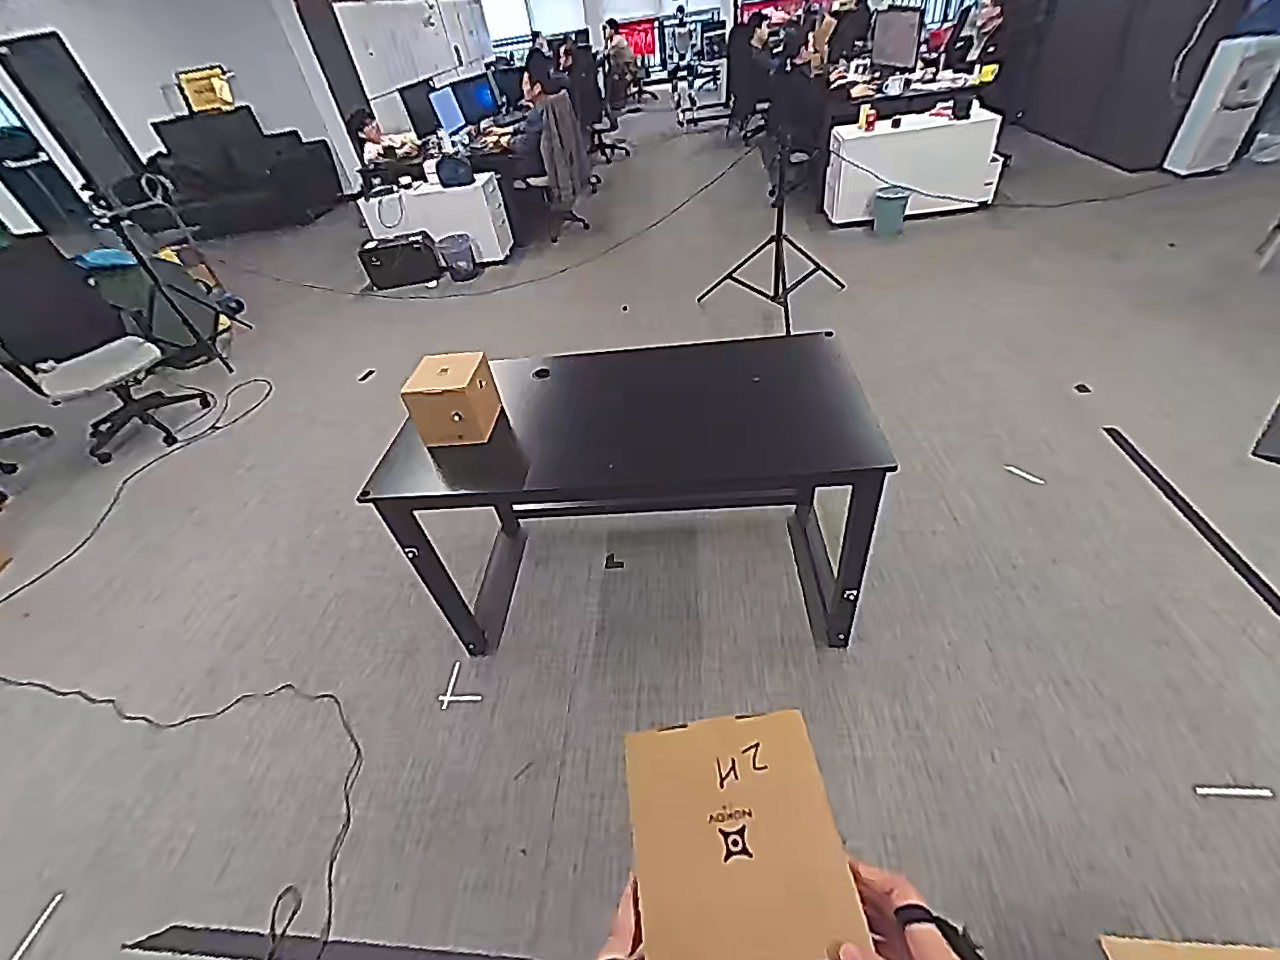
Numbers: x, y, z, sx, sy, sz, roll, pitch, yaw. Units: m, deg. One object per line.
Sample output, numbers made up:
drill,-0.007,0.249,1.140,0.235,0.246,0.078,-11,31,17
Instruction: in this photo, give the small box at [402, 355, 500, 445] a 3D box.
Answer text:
small box,-0.473,-0.199,1.384,0.168,0.176,0.179,-3,41,6

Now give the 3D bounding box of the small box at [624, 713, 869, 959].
small box,0.082,0.341,0.494,0.168,0.176,0.179,-8,46,-1
